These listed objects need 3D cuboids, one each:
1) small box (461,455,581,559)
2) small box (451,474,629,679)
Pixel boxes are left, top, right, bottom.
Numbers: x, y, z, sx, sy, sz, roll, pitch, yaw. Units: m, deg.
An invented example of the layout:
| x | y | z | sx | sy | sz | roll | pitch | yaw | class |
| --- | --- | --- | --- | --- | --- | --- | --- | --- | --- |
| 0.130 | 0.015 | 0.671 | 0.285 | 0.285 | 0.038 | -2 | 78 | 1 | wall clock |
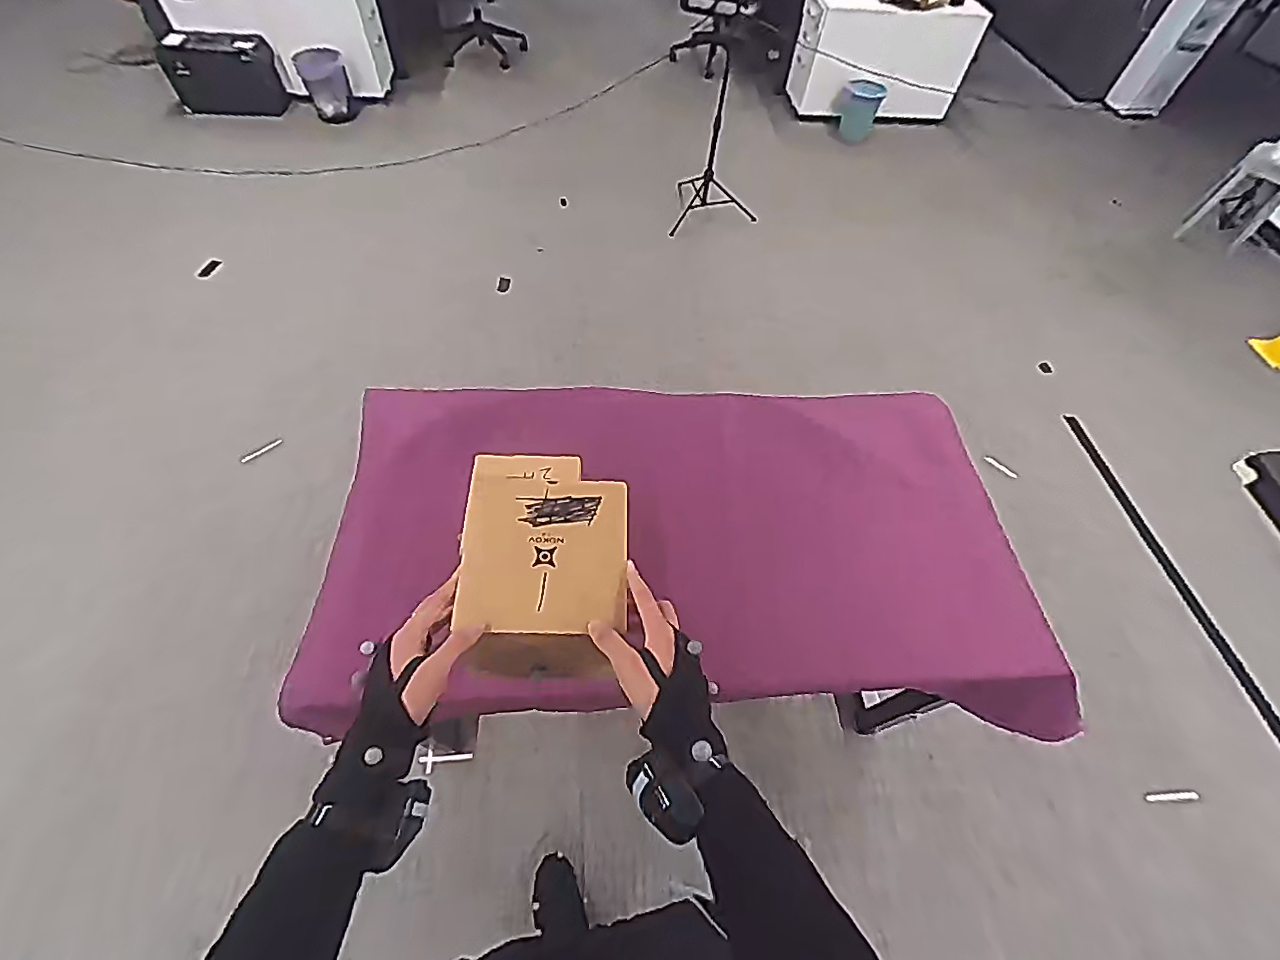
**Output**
| x | y | z | sx | sy | sz | roll | pitch | yaw | class |
| --- | --- | --- | --- | --- | --- | --- | --- | --- | --- |
| -0.180 | 0.079 | 0.882 | 0.168 | 0.176 | 0.179 | 2 | 56 | -4 | small box |
| -0.103 | 0.114 | 0.615 | 0.168 | 0.176 | 0.179 | 3 | 57 | -5 | small box |
